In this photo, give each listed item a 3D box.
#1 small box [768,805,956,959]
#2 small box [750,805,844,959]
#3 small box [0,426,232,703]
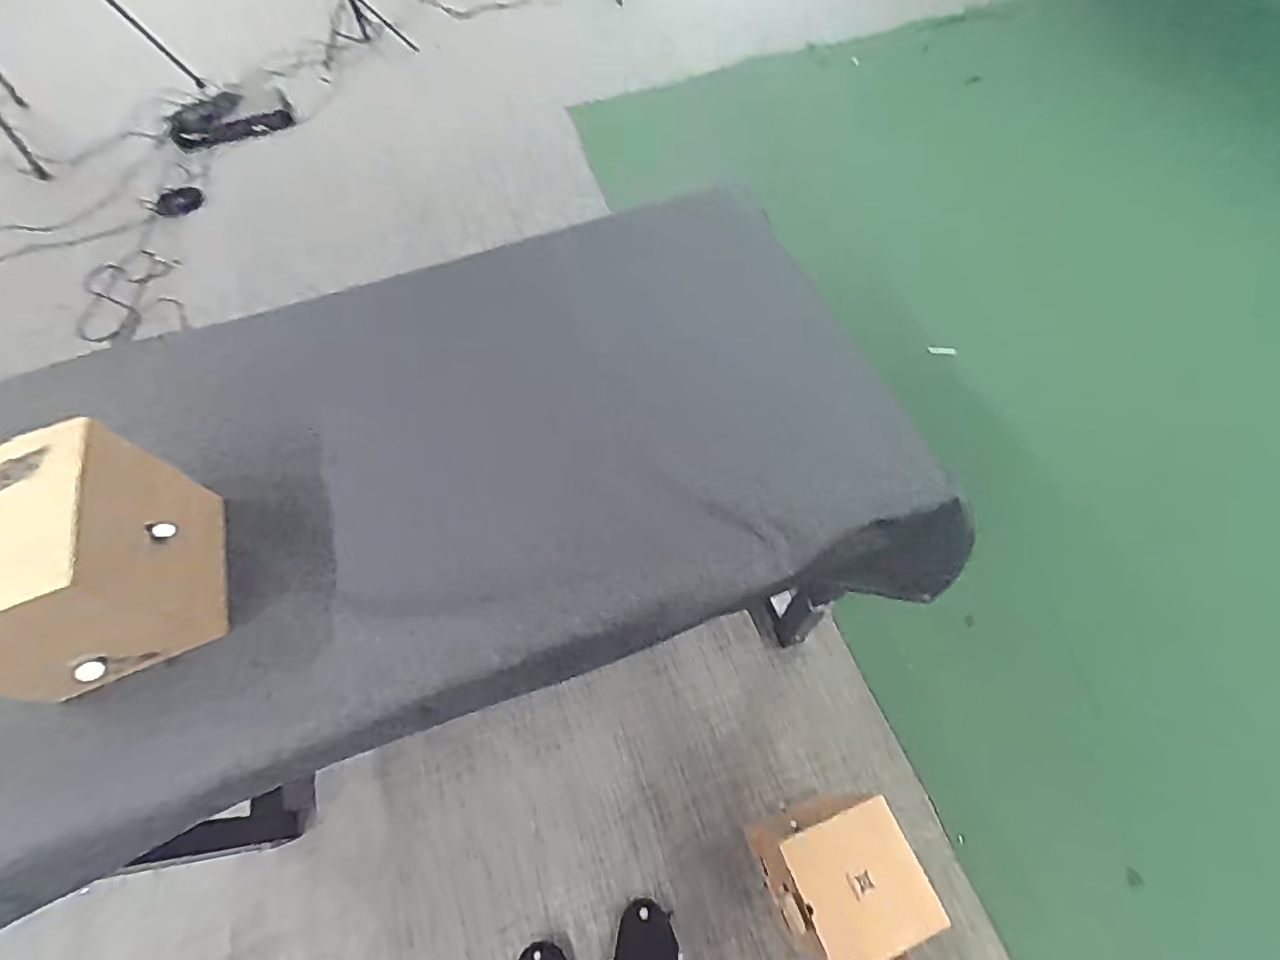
[{"bbox_3d":[0.312,0.605,0.804,0.179,0.176,0.168,-21,61,-8],"label":"small box"},{"bbox_3d":[0.304,0.691,0.944,0.179,0.176,0.168,-19,59,-7],"label":"small box"},{"bbox_3d":[-0.525,0.085,0.510,0.168,0.176,0.179,-22,61,-8],"label":"small box"}]
